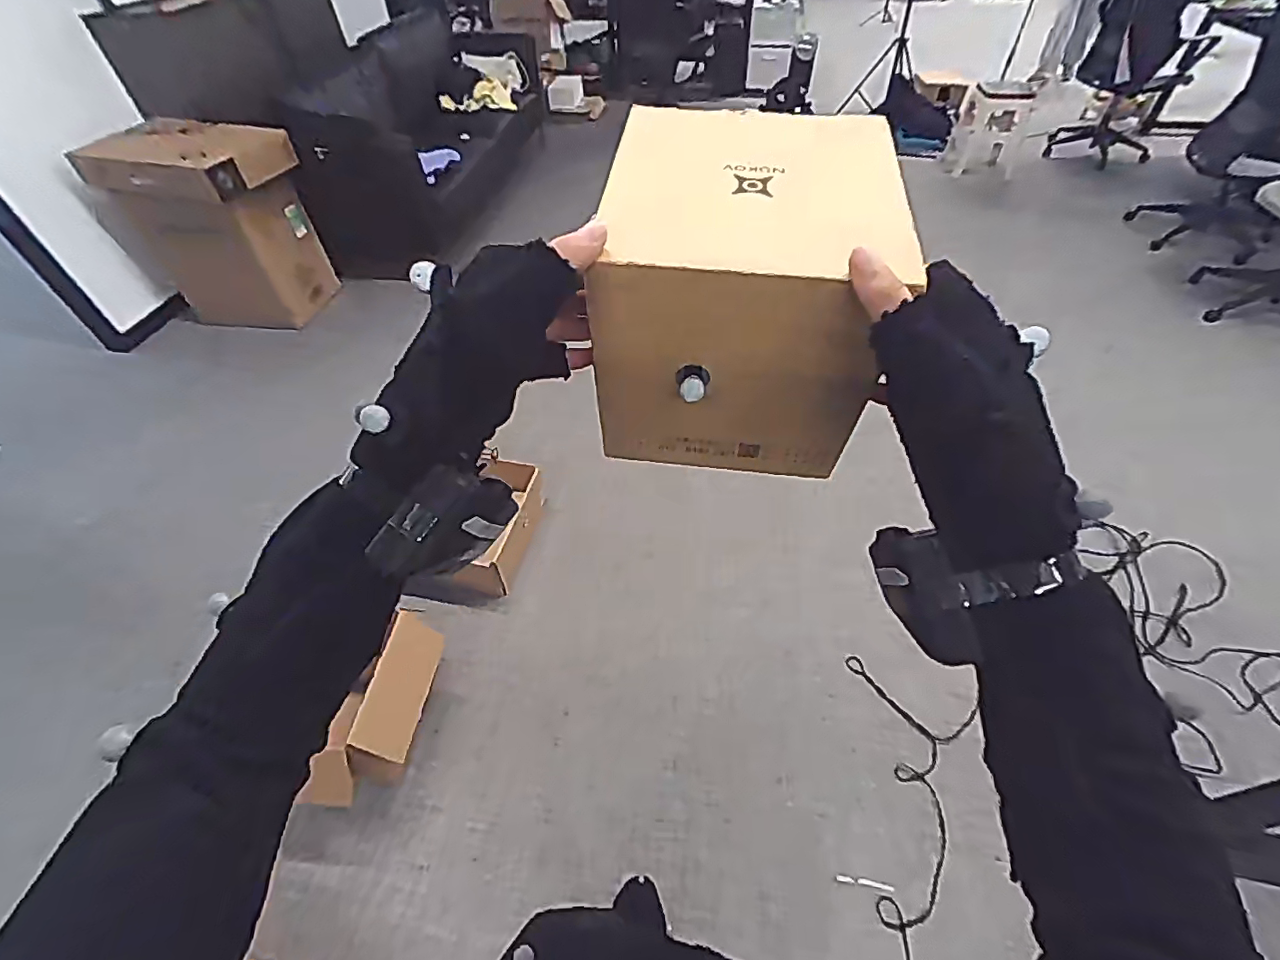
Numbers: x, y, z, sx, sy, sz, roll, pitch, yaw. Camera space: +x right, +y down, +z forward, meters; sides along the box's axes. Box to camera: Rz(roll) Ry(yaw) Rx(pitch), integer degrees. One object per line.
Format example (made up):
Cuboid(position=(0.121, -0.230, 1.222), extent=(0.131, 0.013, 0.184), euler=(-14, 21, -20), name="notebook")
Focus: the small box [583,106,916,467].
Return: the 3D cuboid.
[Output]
Cuboid(position=(0.065, -0.127, 0.375), extent=(0.168, 0.176, 0.179), euler=(6, 56, 5), name="small box")
